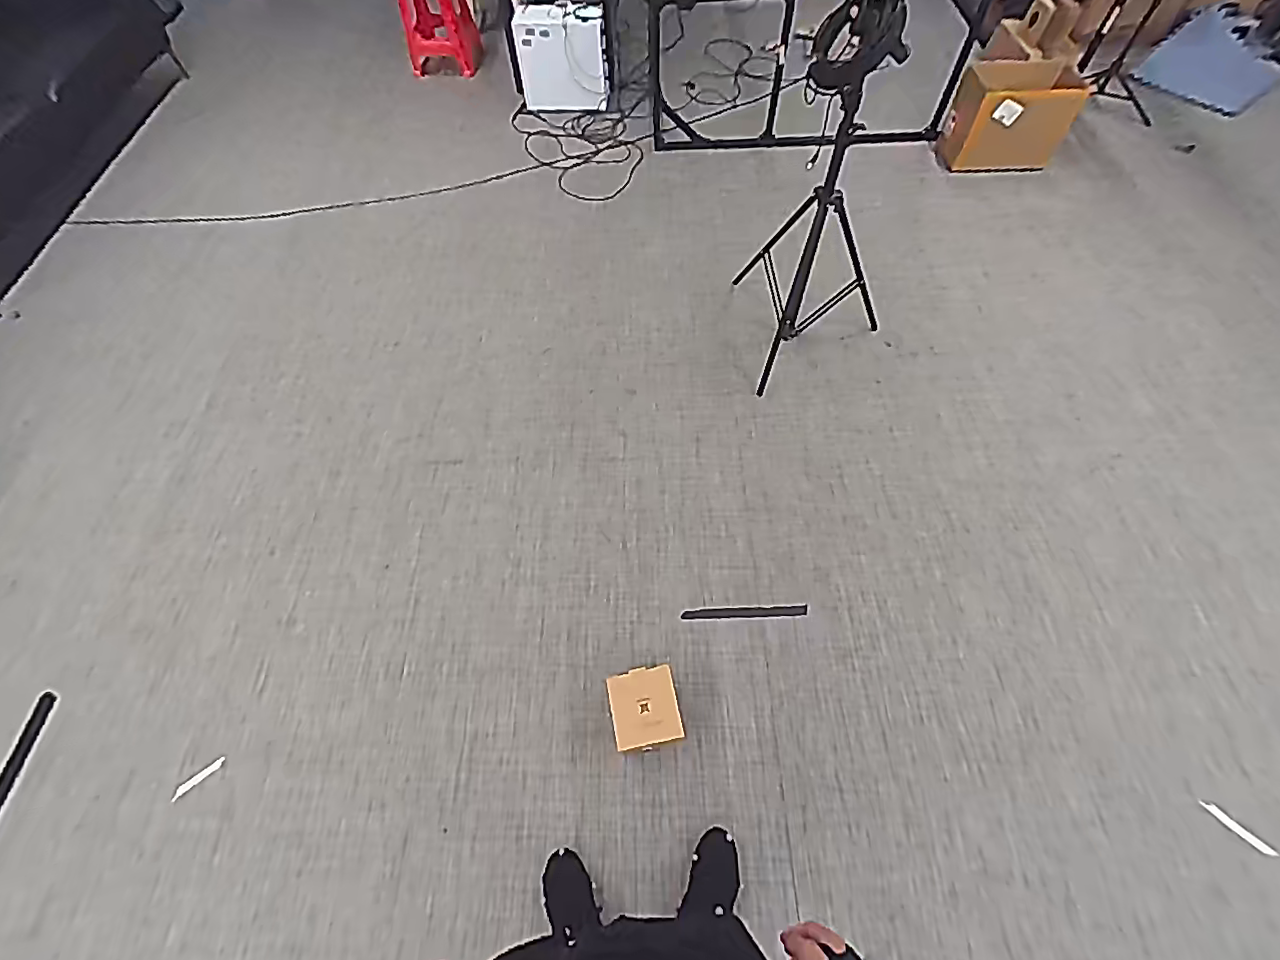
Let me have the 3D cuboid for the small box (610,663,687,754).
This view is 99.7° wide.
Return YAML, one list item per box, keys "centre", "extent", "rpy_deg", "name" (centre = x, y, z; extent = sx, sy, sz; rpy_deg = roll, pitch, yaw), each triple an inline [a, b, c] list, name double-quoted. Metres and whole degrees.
- centre: [0.020, 0.591, 1.391]
  extent: [0.168, 0.176, 0.179]
  rpy_deg: [-11, 60, -3]
  name: "small box"
